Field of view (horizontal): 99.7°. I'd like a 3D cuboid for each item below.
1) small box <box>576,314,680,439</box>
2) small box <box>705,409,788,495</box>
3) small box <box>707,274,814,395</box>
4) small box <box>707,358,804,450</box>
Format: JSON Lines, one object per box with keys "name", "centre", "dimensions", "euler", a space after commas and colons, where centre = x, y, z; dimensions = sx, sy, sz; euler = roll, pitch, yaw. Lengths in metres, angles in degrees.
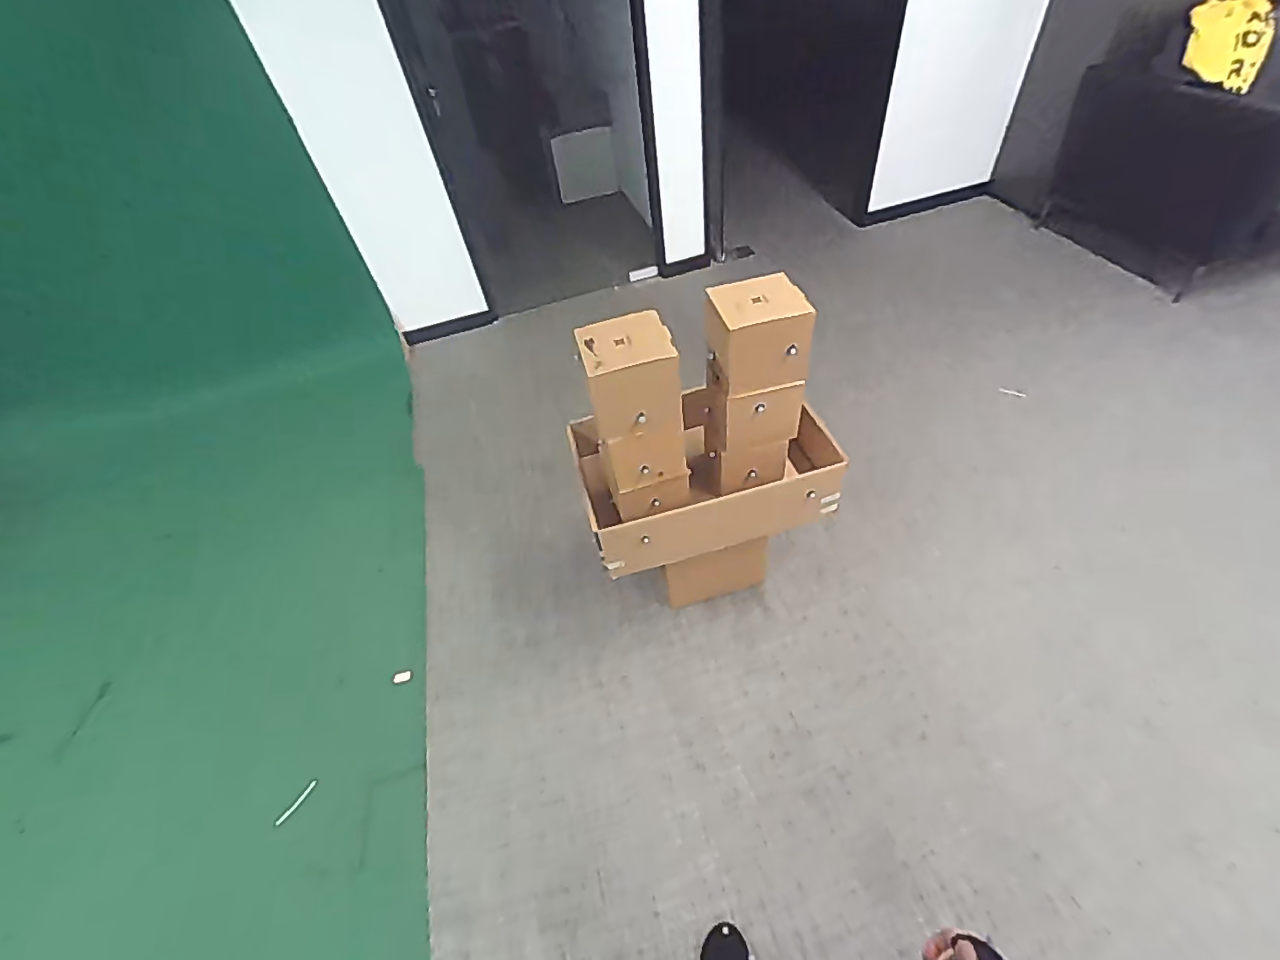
{"name": "small box", "centre": [-0.021, -0.209, 1.105], "dimensions": [0.179, 0.176, 0.168], "euler": [-14, 48, -5]}
{"name": "small box", "centre": [0.268, -0.080, 1.382], "dimensions": [0.168, 0.176, 0.179], "euler": [-12, 48, -1]}
{"name": "small box", "centre": [0.246, -0.305, 1.146], "dimensions": [0.179, 0.176, 0.168], "euler": [-13, 47, -2]}
{"name": "small box", "centre": [0.262, -0.190, 1.260], "dimensions": [0.179, 0.176, 0.168], "euler": [-13, 48, -3]}
